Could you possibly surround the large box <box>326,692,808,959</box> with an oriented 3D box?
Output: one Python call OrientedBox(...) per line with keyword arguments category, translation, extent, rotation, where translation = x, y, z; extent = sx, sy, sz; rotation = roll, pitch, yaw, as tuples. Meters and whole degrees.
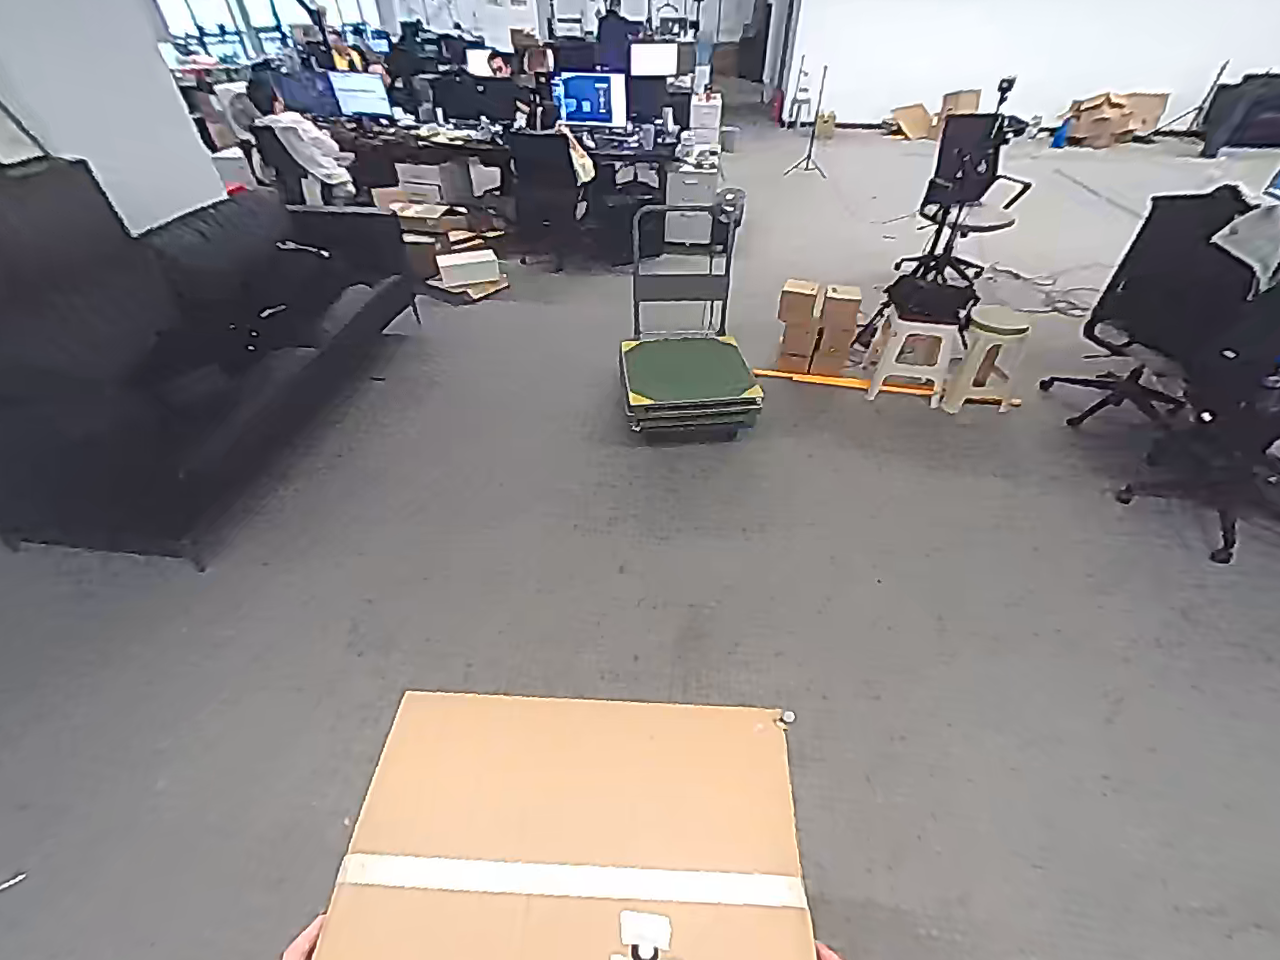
OrientedBox(category="large box", translation=(-0.060, 0.452, 0.593), extent=(0.408, 0.320, 0.320), rotation=(2, 47, 1))
